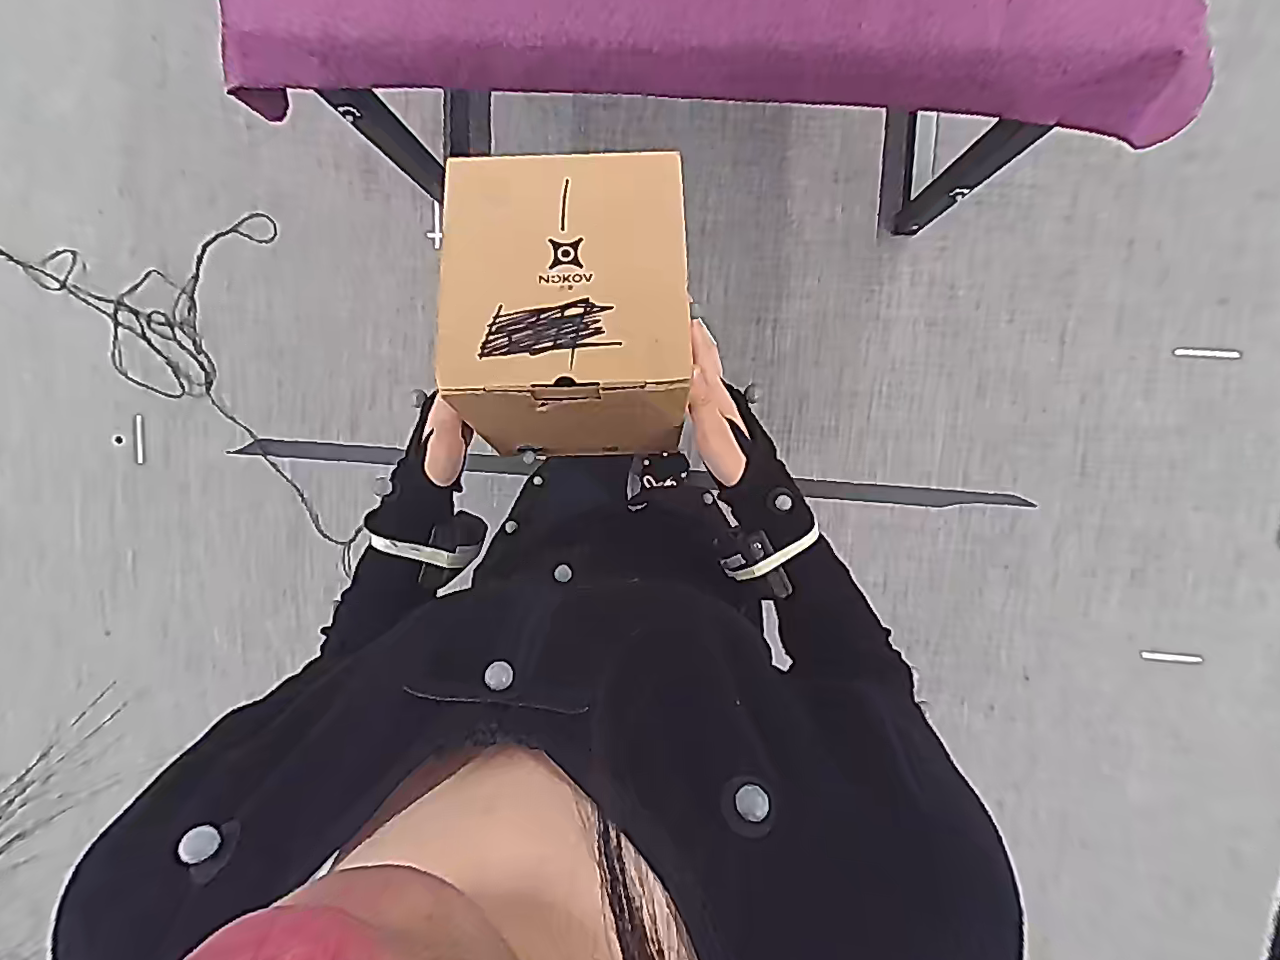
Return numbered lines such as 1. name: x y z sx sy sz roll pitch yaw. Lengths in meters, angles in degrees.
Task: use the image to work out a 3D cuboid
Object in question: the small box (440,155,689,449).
1. small box: -0.049 -0.126 0.442 0.168 0.176 0.179 -1 77 0
